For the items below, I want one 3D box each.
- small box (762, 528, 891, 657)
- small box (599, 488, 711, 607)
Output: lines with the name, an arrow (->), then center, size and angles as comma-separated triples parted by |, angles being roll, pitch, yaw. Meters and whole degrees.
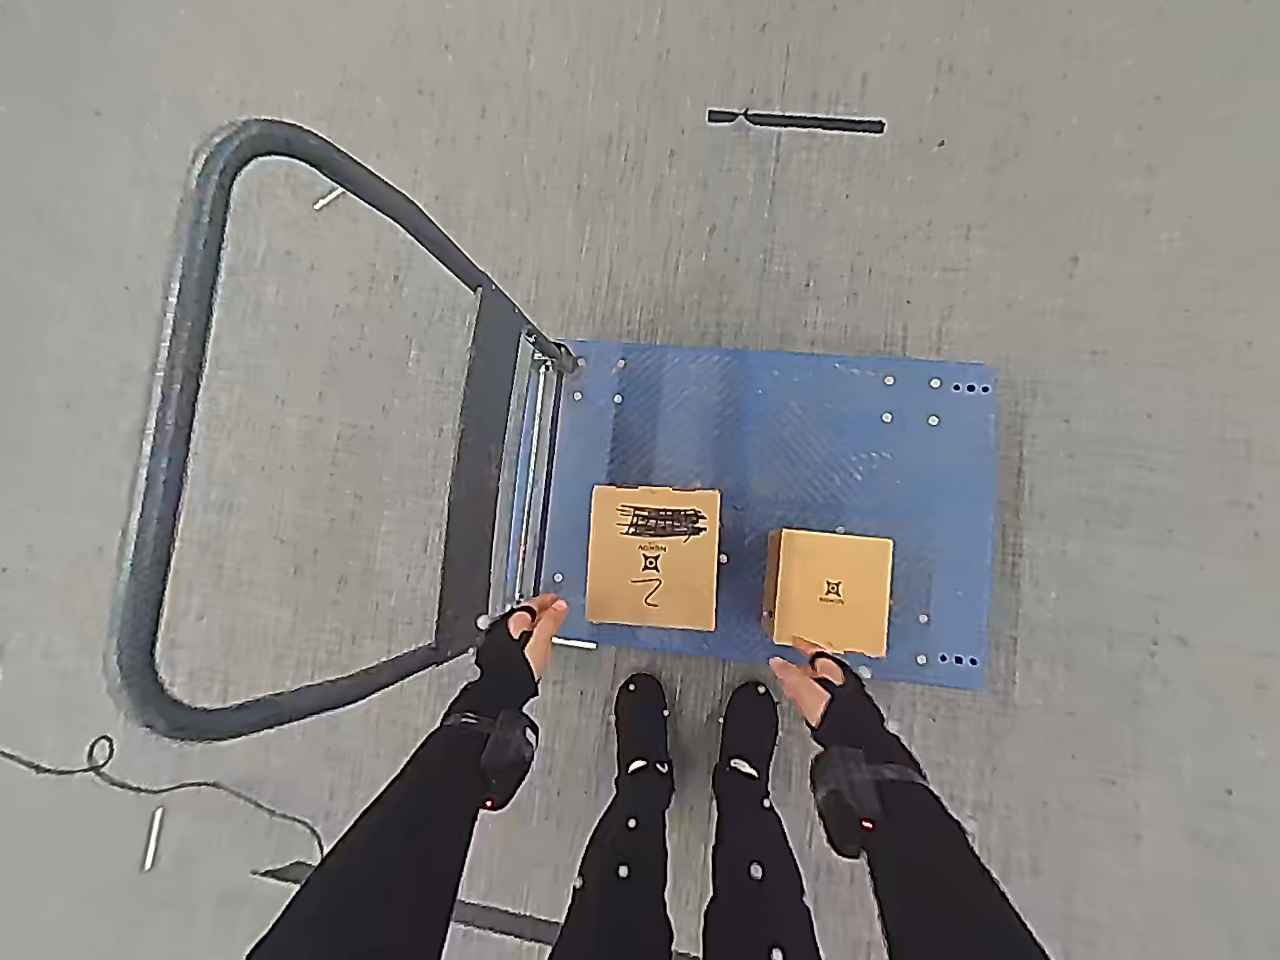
small box -> 0.296, 0.175, 0.887 | 0.168, 0.176, 0.179 | 5, 85, 7
small box -> 0.033, 0.112, 0.923 | 0.168, 0.176, 0.179 | 4, 85, 8
